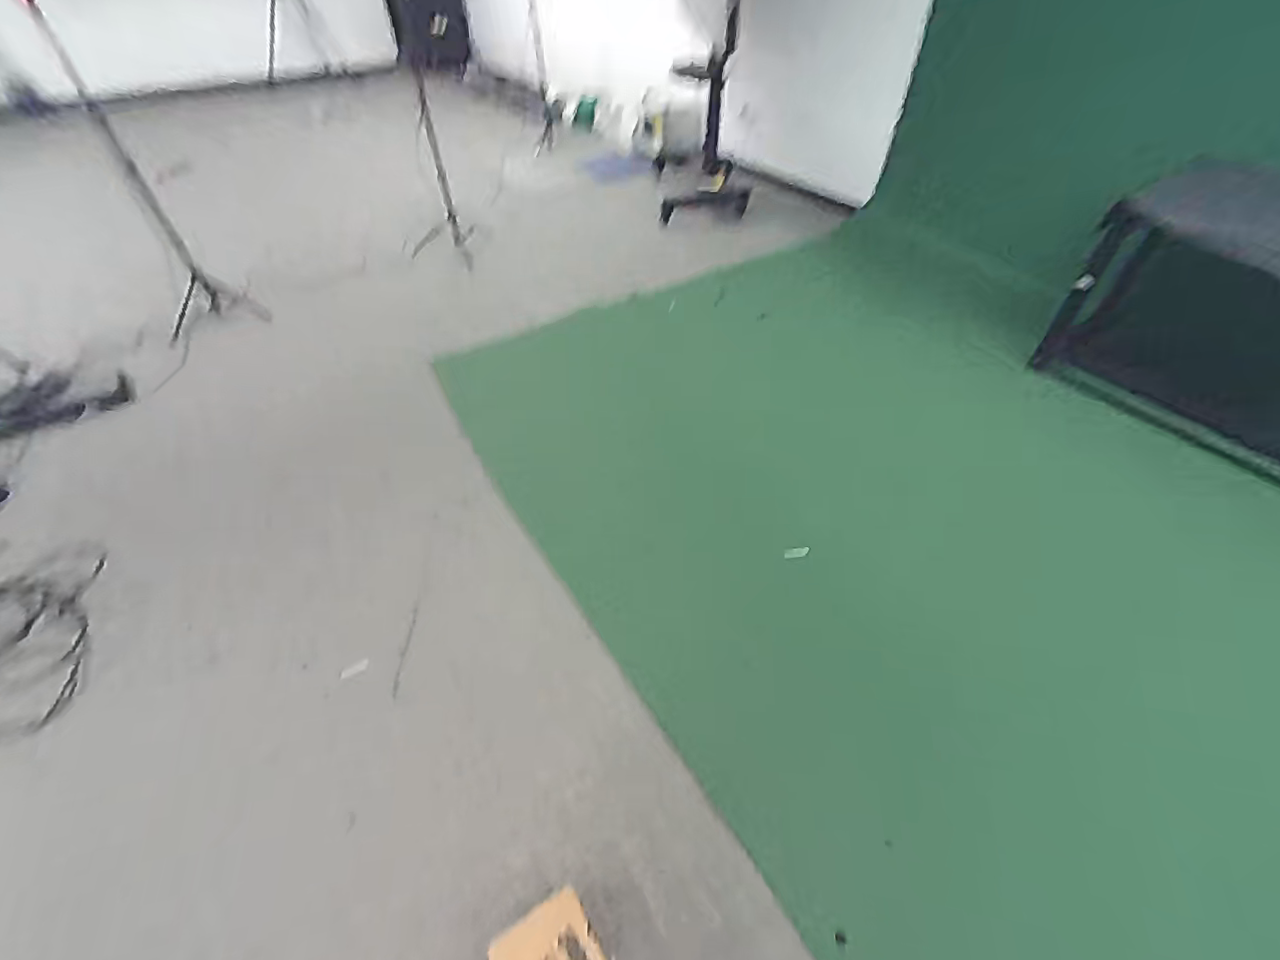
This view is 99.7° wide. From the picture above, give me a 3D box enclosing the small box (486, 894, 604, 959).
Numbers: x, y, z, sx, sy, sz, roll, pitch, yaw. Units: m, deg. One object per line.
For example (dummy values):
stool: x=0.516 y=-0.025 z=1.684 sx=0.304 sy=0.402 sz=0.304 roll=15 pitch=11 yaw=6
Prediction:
small box: x=-0.158 y=0.910 z=0.993 sx=0.179 sy=0.176 sz=0.168 roll=-26 pitch=51 yaw=-21
